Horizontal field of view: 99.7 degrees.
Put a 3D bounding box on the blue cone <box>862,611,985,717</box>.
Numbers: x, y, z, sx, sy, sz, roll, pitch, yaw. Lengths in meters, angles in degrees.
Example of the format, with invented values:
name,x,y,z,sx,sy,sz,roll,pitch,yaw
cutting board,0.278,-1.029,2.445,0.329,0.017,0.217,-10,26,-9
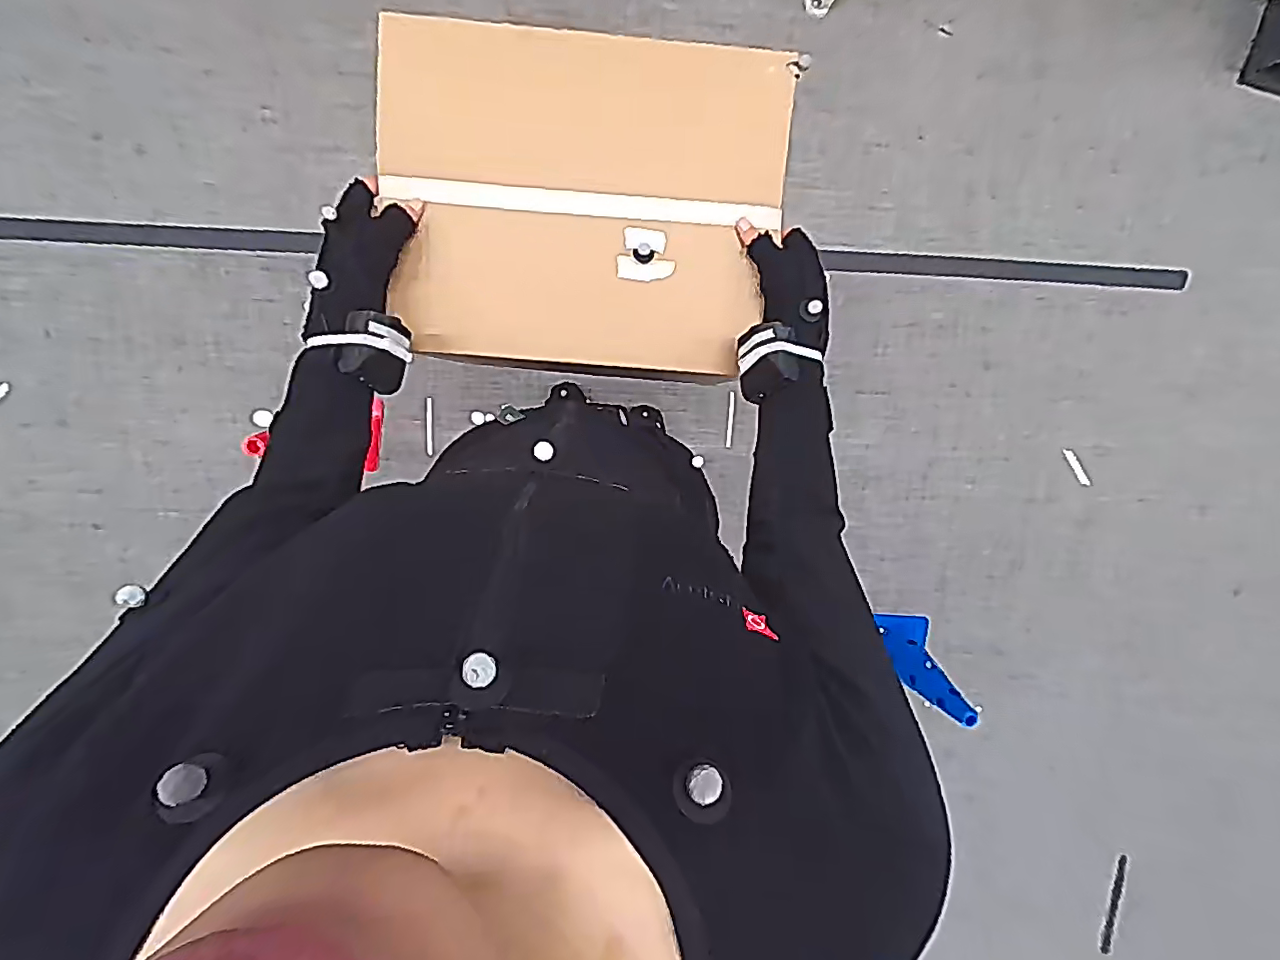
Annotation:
name,x,y,z,sx,sy,sz,roll,pitch,yaw
blue cone,0.774,0.510,1.456,0.192,0.380,0.193,5,101,-5

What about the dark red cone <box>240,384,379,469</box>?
name,x,y,z,sx,sy,sz,roll,pitch,yaw
dark red cone,-0.760,-0.106,1.219,0.201,0.394,0.202,8,100,-6

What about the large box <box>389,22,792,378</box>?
name,x,y,z,sx,sy,sz,roll,pitch,yaw
large box,-0.060,-0.304,0.698,0.408,0.320,0.320,4,99,-2
